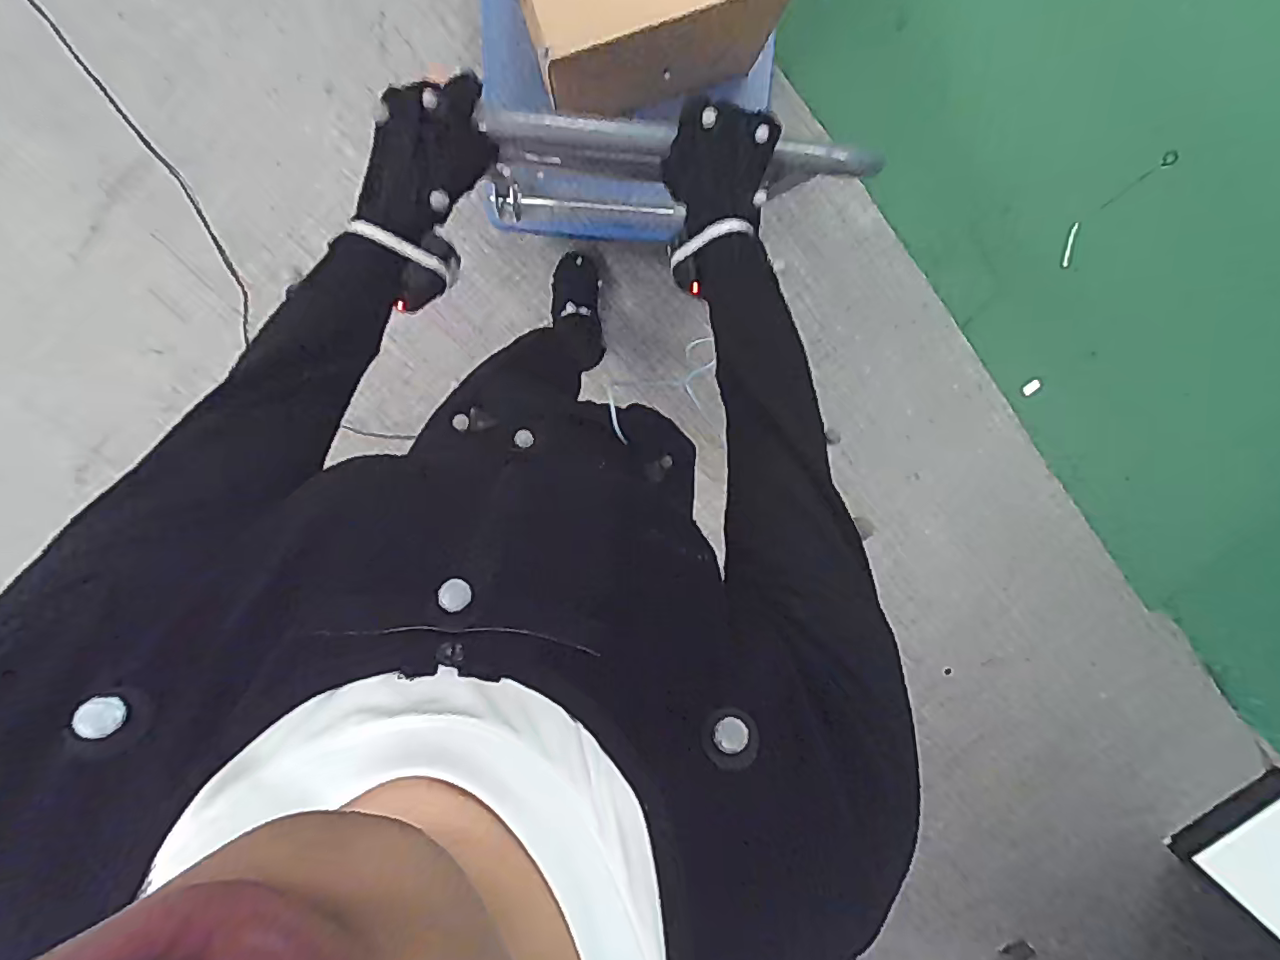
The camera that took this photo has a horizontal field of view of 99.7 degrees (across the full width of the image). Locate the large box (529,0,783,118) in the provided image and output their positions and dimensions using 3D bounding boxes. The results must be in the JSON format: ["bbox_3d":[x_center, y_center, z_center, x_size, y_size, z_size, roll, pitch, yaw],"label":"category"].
[{"bbox_3d":[0.003,-0.879,0.897,0.408,0.320,0.320,-18,106,2],"label":"large box"}]
